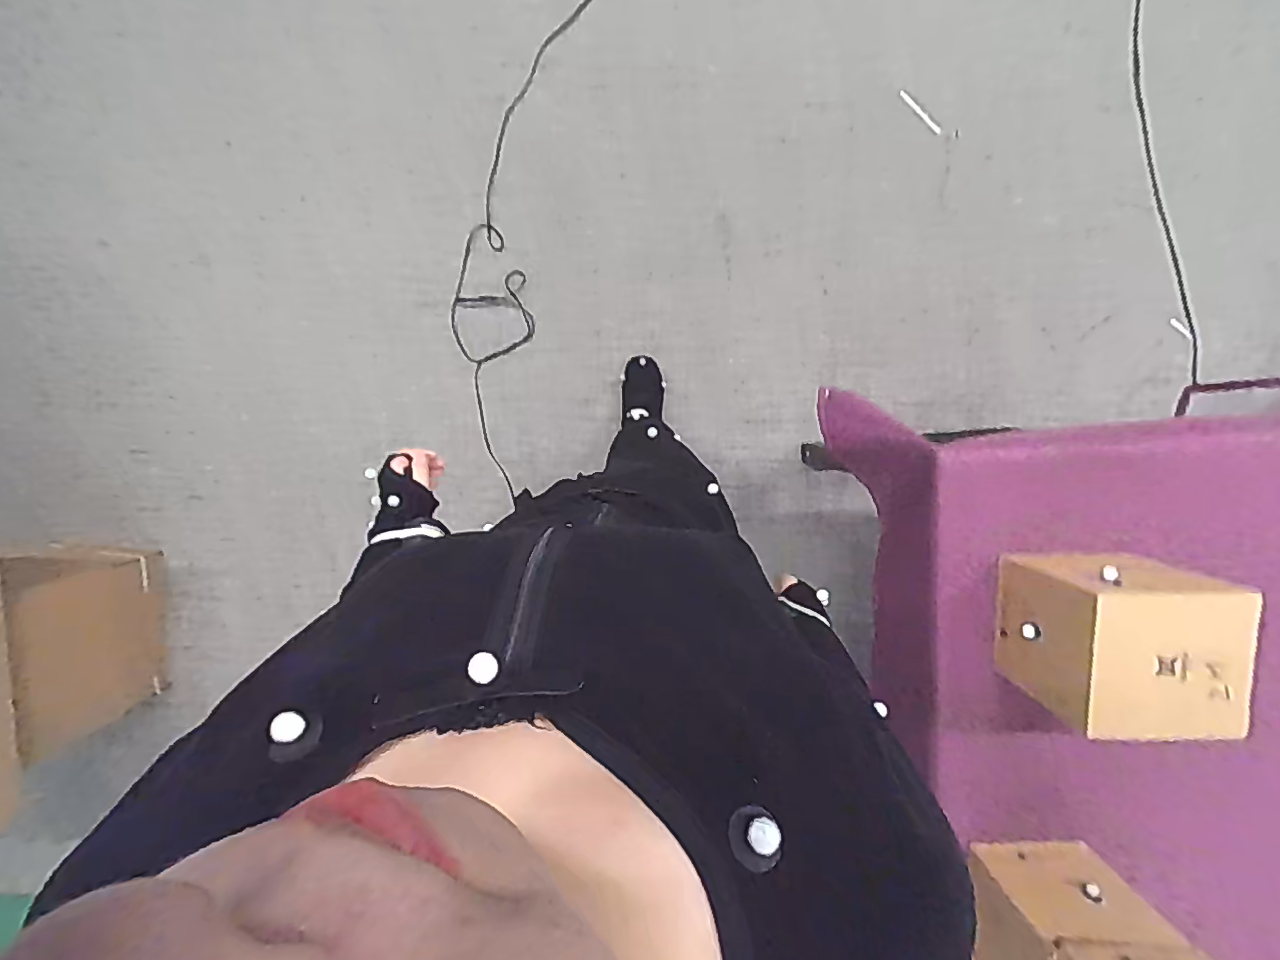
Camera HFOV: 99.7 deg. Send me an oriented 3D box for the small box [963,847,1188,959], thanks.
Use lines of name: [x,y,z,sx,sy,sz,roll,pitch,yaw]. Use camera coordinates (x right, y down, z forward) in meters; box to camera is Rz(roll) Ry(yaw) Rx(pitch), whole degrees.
small box: [0.557,0.623,0.716,0.168,0.176,0.179,-2,97,1]

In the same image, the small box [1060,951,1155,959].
small box: [0.554,0.635,0.552,0.168,0.176,0.179,2,96,1]

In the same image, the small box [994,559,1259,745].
small box: [0.573,0.199,0.665,0.179,0.176,0.168,0,97,1]
